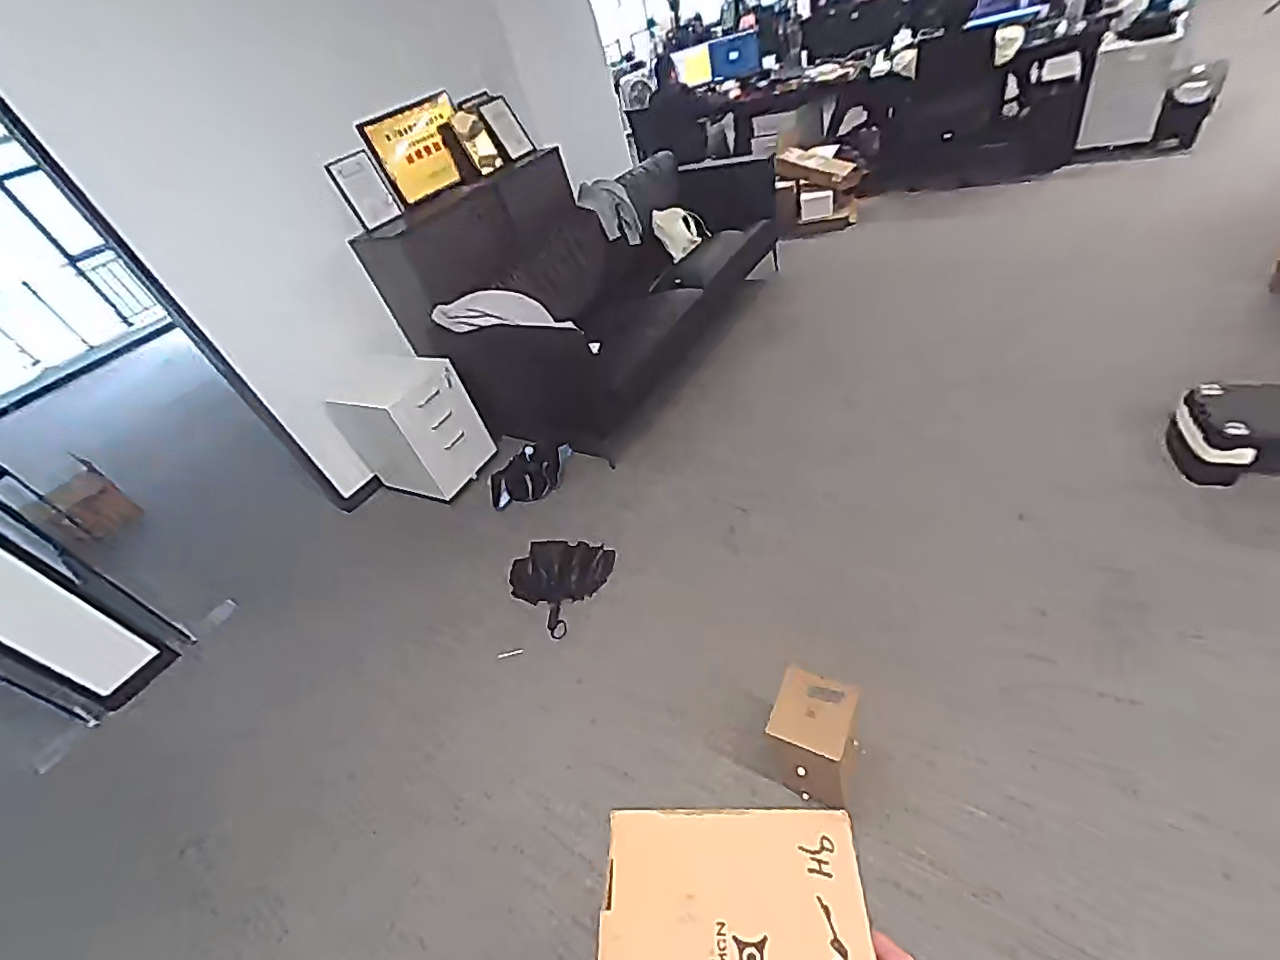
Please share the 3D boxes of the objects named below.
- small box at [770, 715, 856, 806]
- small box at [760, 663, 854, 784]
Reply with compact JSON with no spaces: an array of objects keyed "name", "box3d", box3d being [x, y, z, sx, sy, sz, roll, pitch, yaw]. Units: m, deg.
[{"name":"small box","box3d":[0.445,0.687,1.378,0.168,0.176,0.179,10,49,32]},{"name":"small box","box3d":[0.397,0.570,1.272,0.168,0.176,0.179,10,48,32]}]
